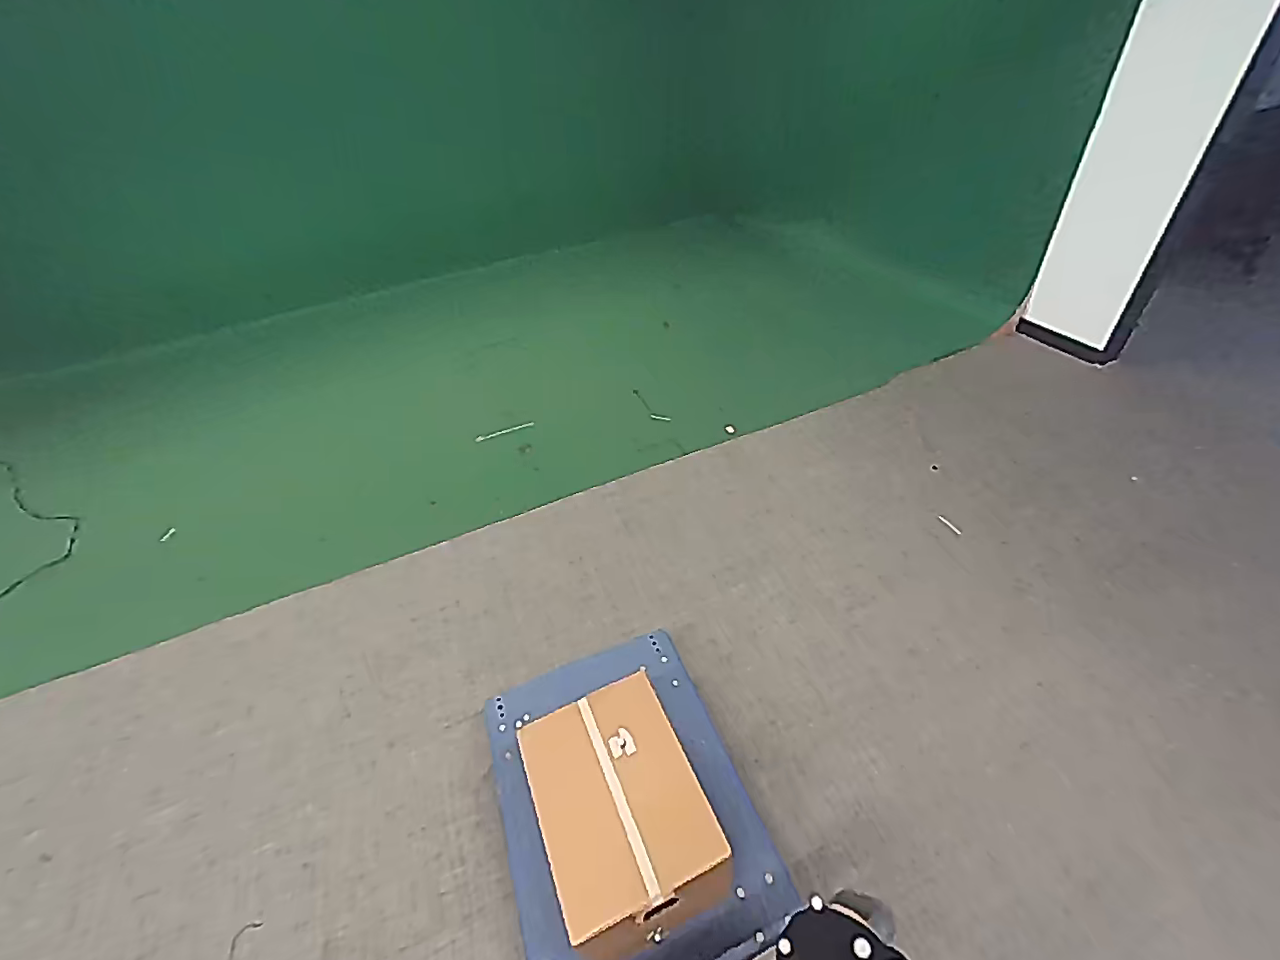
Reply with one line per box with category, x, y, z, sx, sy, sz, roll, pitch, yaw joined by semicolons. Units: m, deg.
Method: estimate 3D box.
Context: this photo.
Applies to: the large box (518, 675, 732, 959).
large box;-0.033;0.732;1.188;0.320;0.320;0.408;-21;43;-14
